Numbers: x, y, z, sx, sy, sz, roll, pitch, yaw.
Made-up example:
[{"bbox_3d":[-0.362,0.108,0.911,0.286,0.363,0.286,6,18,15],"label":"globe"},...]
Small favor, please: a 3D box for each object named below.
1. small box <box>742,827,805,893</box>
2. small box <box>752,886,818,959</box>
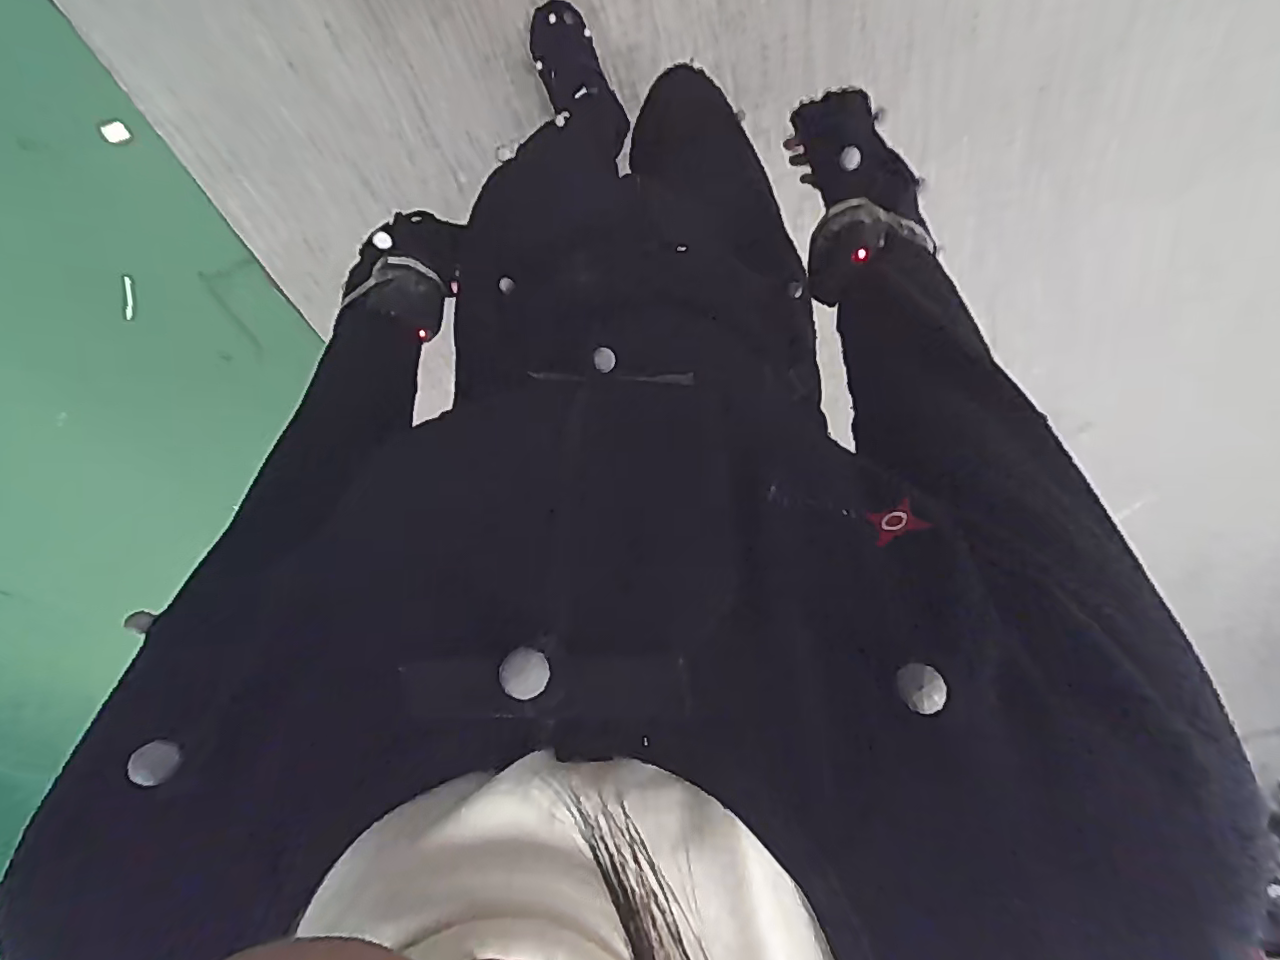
[{"bbox_3d":[0.465,1.348,1.904,0.179,0.176,0.168,-16,132,9],"label":"small box"},{"bbox_3d":[0.478,1.465,1.790,0.168,0.176,0.179,-16,132,10],"label":"small box"}]
